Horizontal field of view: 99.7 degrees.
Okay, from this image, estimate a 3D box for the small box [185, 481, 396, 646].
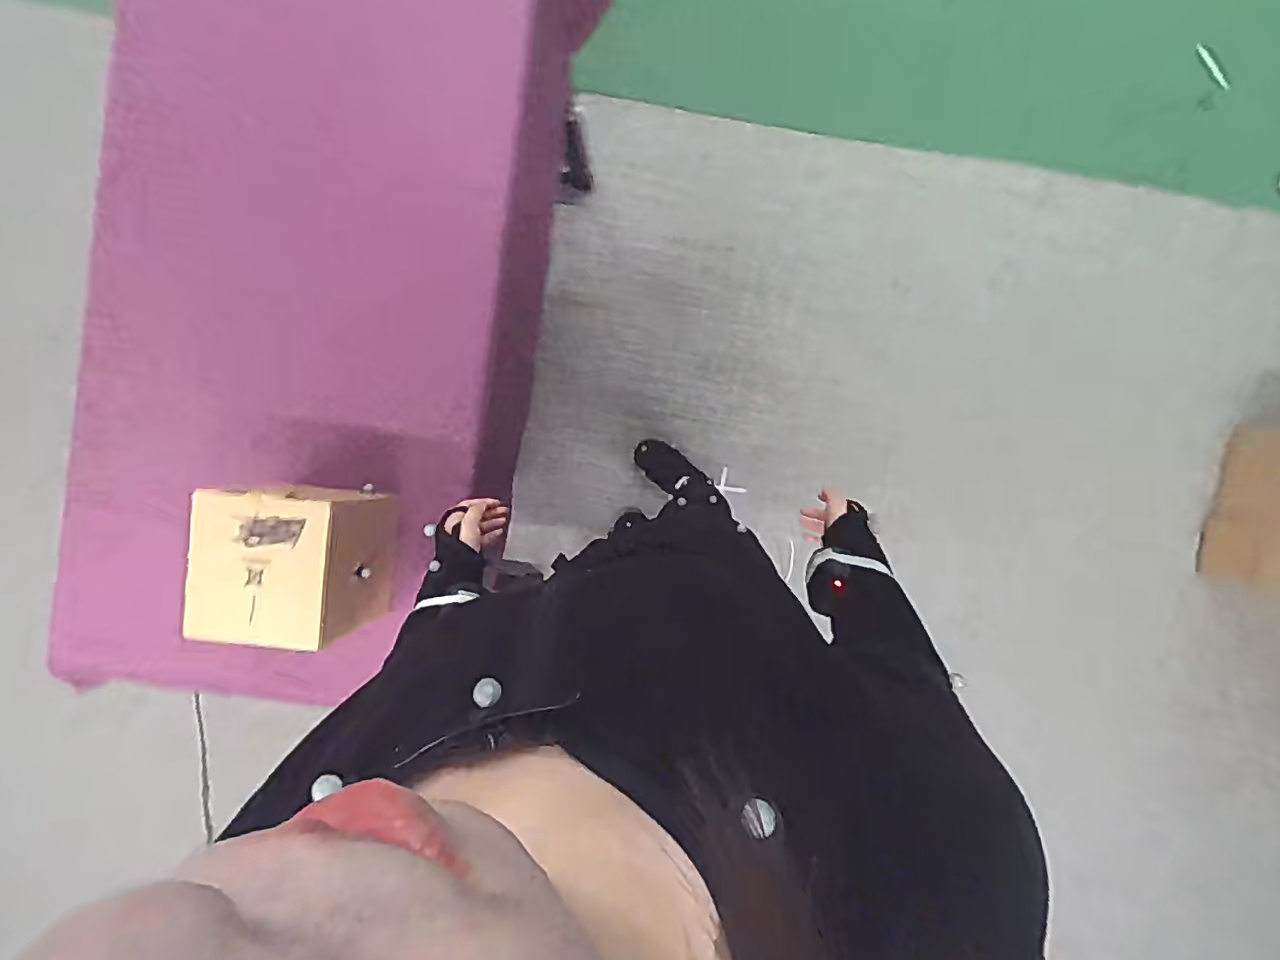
[{"bbox_3d":[-0.438,0.096,0.705,0.168,0.176,0.179,5,93,2],"label":"small box"}]
